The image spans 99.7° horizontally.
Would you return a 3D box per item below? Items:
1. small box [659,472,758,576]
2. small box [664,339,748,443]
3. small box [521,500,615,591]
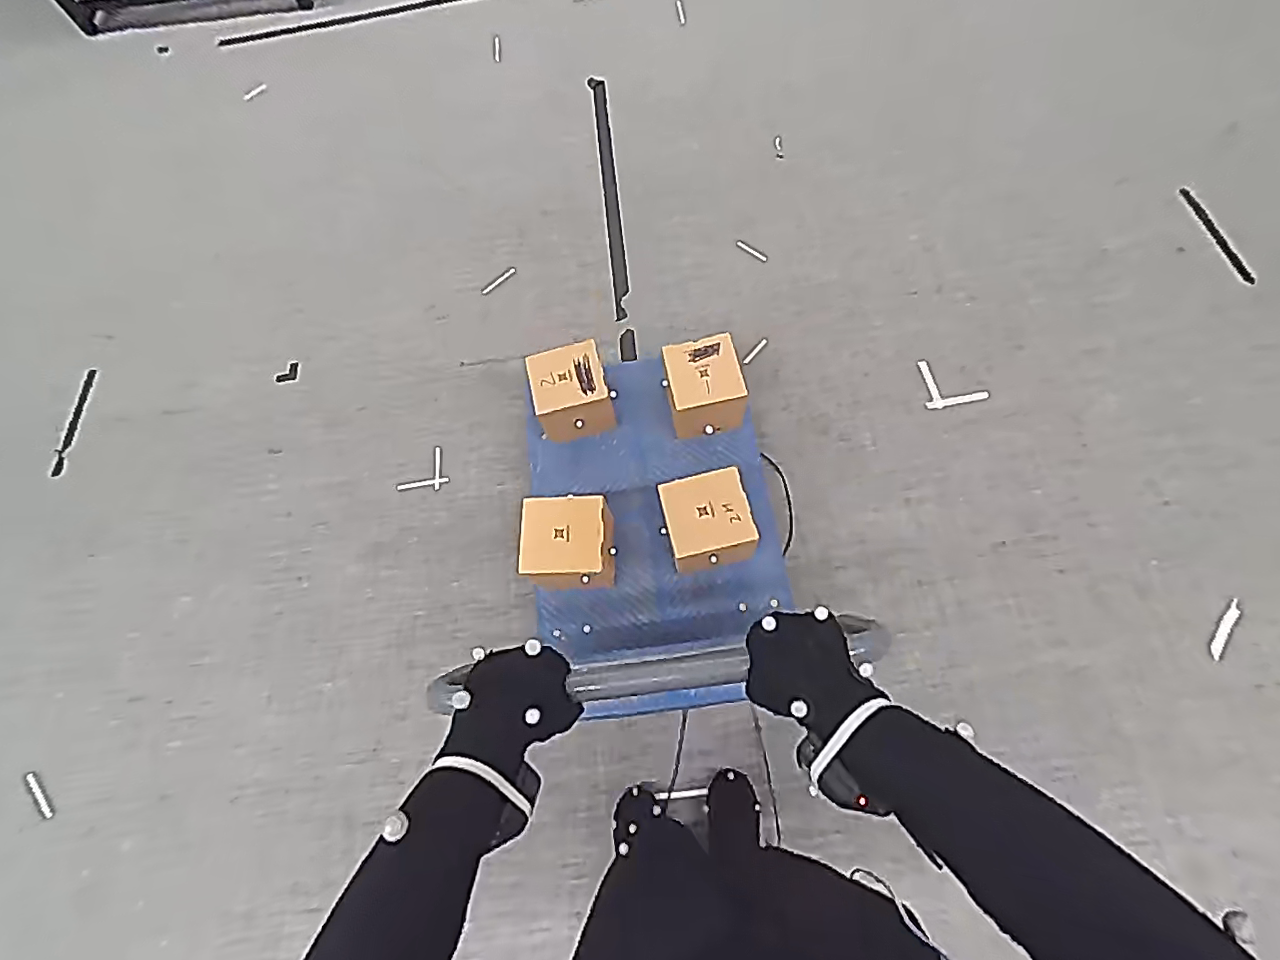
[{"bbox_3d":[0.149,0.104,1.195,0.179,0.176,0.168,-14,68,1],"label":"small box"},{"bbox_3d":[0.155,-0.212,1.319,0.168,0.176,0.179,-12,69,1],"label":"small box"},{"bbox_3d":[-0.153,0.152,1.209,0.179,0.176,0.168,-3,68,3],"label":"small box"}]
